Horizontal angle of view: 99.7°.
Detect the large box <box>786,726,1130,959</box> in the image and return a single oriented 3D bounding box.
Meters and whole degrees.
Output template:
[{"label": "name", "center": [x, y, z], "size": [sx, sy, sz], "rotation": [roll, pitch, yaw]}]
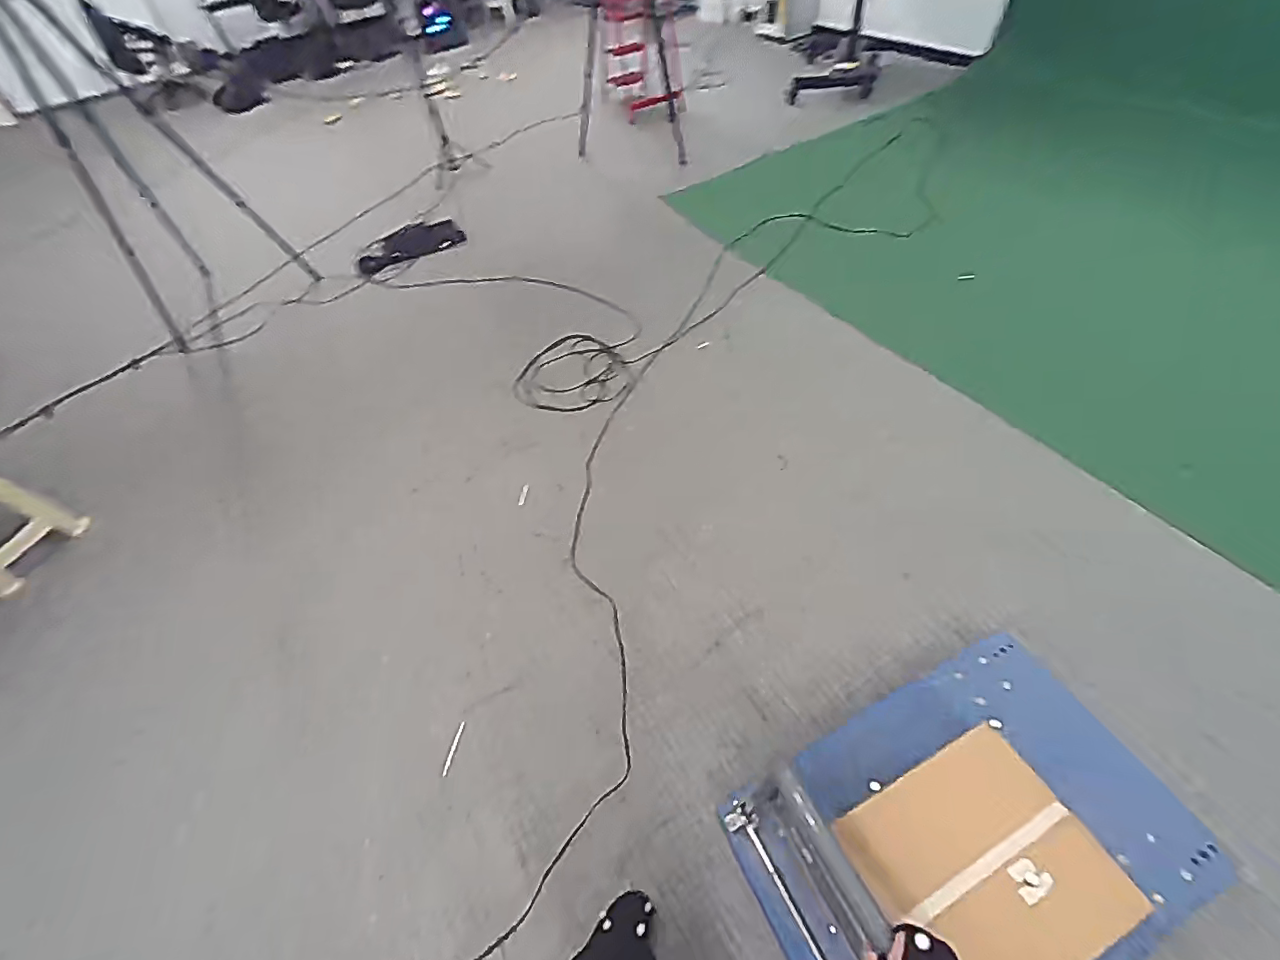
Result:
[{"label": "large box", "center": [0.536, 0.740, 0.999], "size": [0.408, 0.320, 0.320], "rotation": [-25, 53, -13]}]
